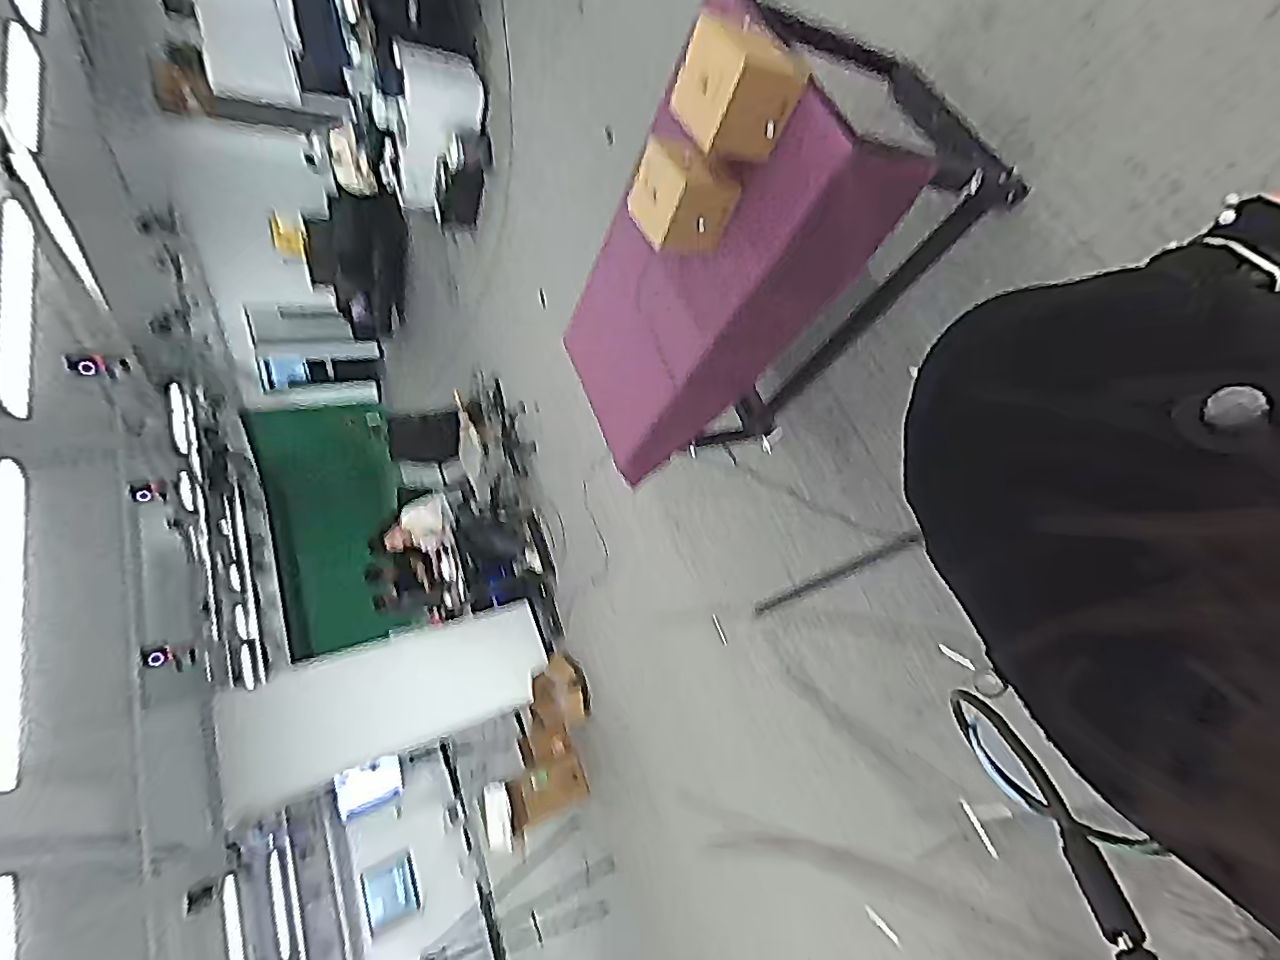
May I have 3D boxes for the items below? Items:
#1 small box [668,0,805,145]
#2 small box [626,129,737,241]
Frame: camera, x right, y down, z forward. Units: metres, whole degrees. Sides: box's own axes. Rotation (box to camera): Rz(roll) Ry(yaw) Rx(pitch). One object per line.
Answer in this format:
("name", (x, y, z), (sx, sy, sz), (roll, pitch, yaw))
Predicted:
("small box", (0.188, -0.799, 1.077), (0.179, 0.176, 0.168), (64, 148, 23))
("small box", (0.096, -0.683, 1.265), (0.179, 0.176, 0.168), (63, 145, 24))
